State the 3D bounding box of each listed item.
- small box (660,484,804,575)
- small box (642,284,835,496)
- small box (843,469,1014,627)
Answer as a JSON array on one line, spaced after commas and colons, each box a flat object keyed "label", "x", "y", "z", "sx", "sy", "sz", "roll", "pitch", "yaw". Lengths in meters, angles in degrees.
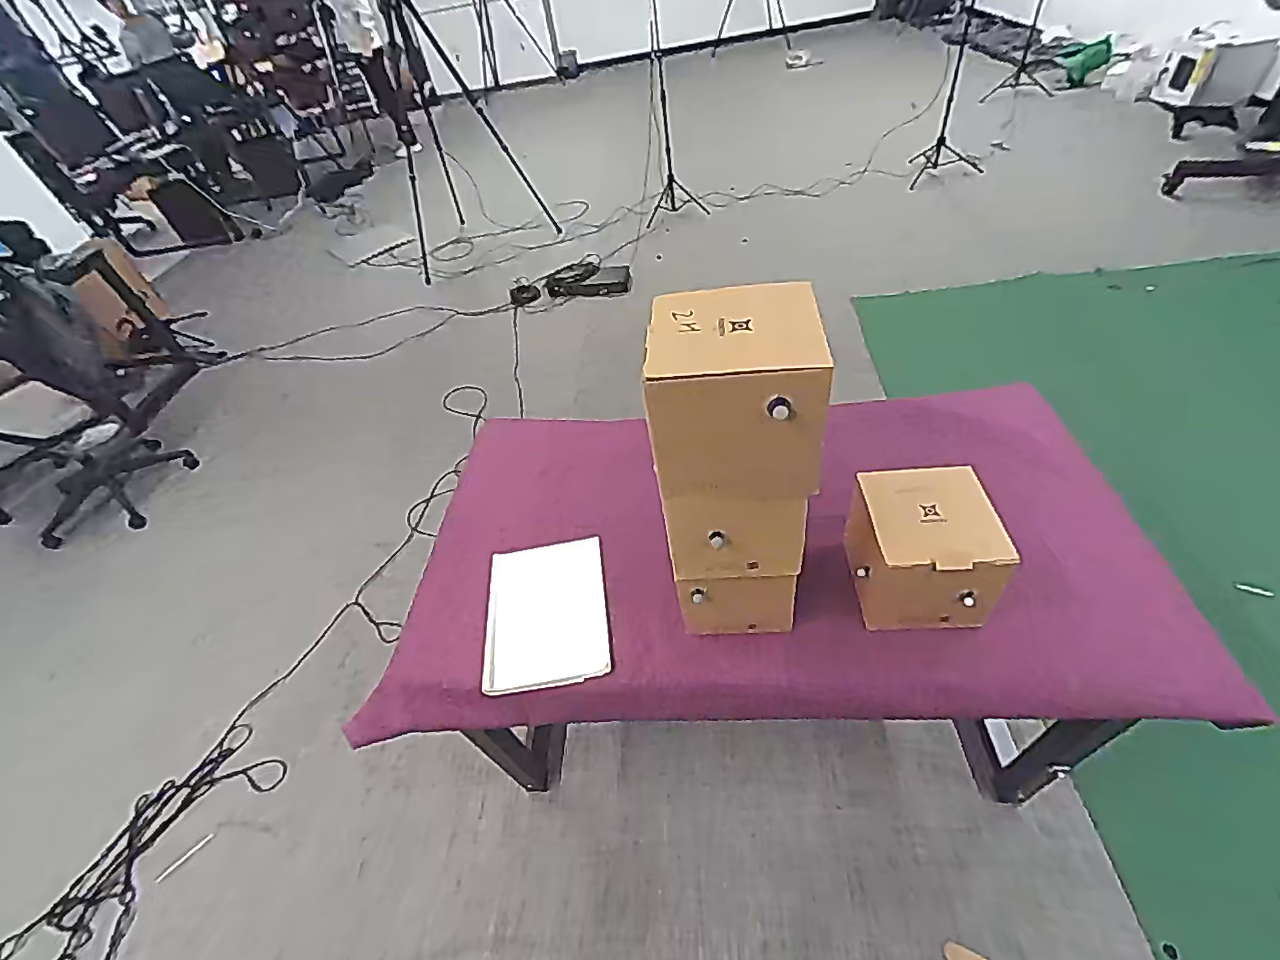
[{"label": "small box", "x": 0.121, "y": 0.016, "z": 0.724, "sx": 0.168, "sy": 0.176, "sz": 0.179, "roll": -4, "pitch": 45, "yaw": 8}, {"label": "small box", "x": 0.106, "y": -0.095, "z": 0.601, "sx": 0.179, "sy": 0.176, "sz": 0.168, "roll": -2, "pitch": 45, "yaw": 10}, {"label": "small box", "x": 0.412, "y": 0.107, "z": 0.809, "sx": 0.168, "sy": 0.176, "sz": 0.179, "roll": -3, "pitch": 45, "yaw": 8}]
